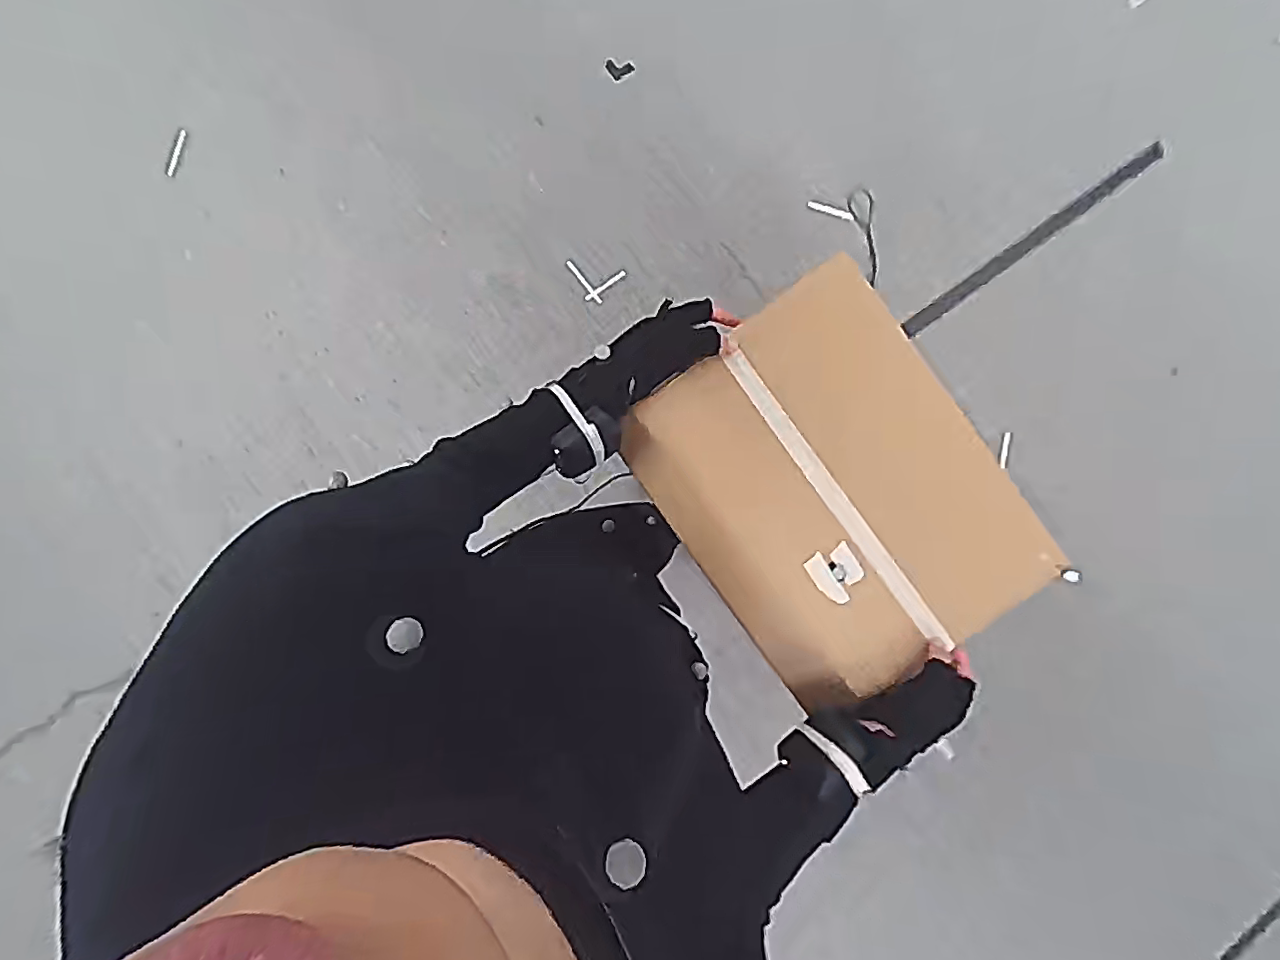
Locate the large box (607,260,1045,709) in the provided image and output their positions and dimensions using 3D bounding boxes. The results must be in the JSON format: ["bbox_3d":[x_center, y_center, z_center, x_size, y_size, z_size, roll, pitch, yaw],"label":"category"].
[{"bbox_3d":[0.202,0.002,0.734,0.320,0.320,0.408,-36,91,4],"label":"large box"}]
